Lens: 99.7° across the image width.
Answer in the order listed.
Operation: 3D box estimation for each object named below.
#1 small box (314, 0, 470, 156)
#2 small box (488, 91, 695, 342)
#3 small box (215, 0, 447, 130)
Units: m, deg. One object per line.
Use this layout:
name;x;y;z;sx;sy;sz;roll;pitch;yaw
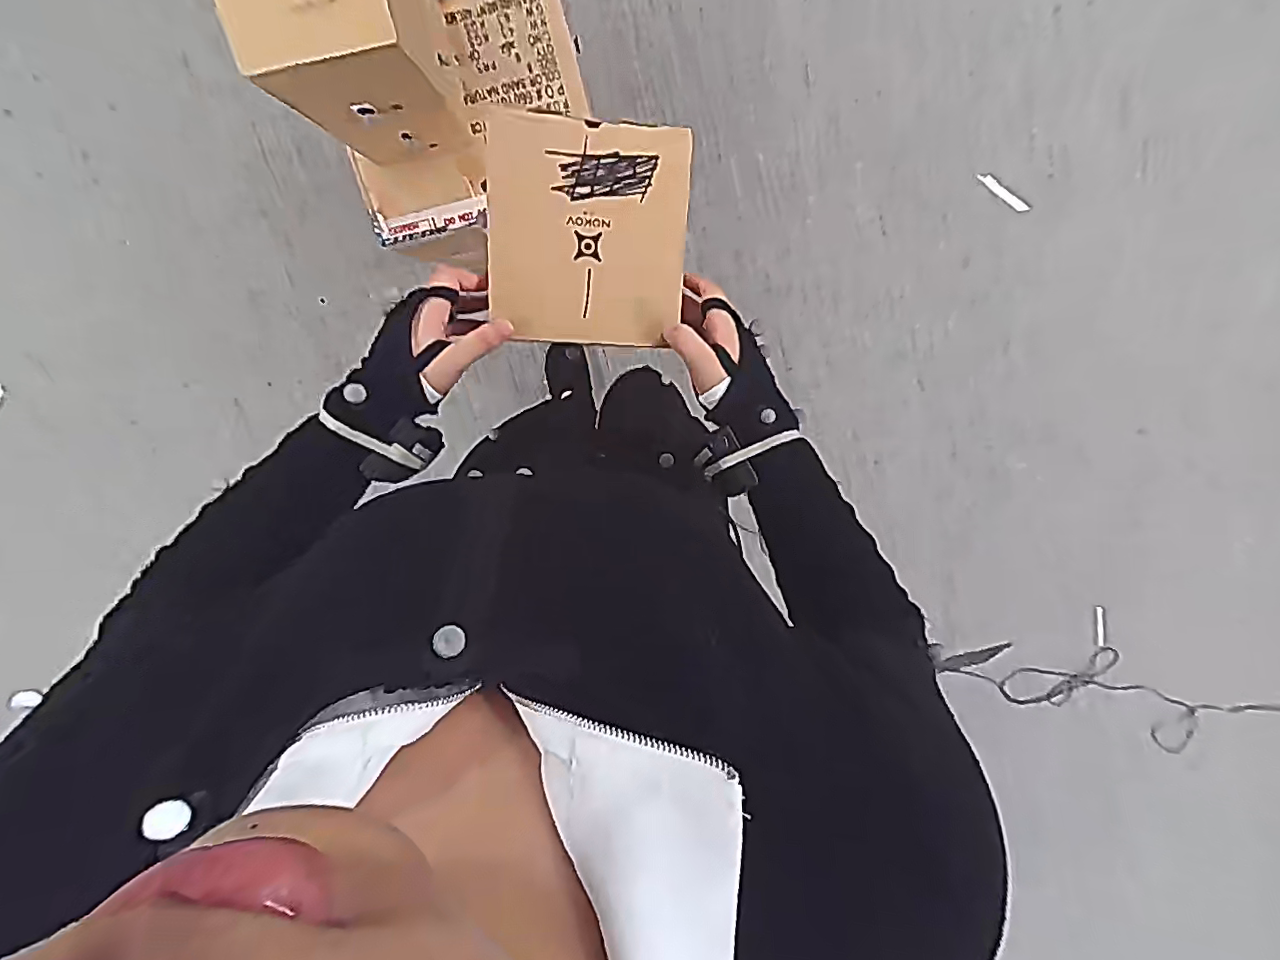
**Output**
small box;-0.351;-0.568;0.742;0.168;0.176;0.179;-12;107;1
small box;-0.054;-0.228;0.519;0.168;0.176;0.179;1;104;-10
small box;-0.333;-0.518;0.587;0.168;0.176;0.179;-11;107;2
